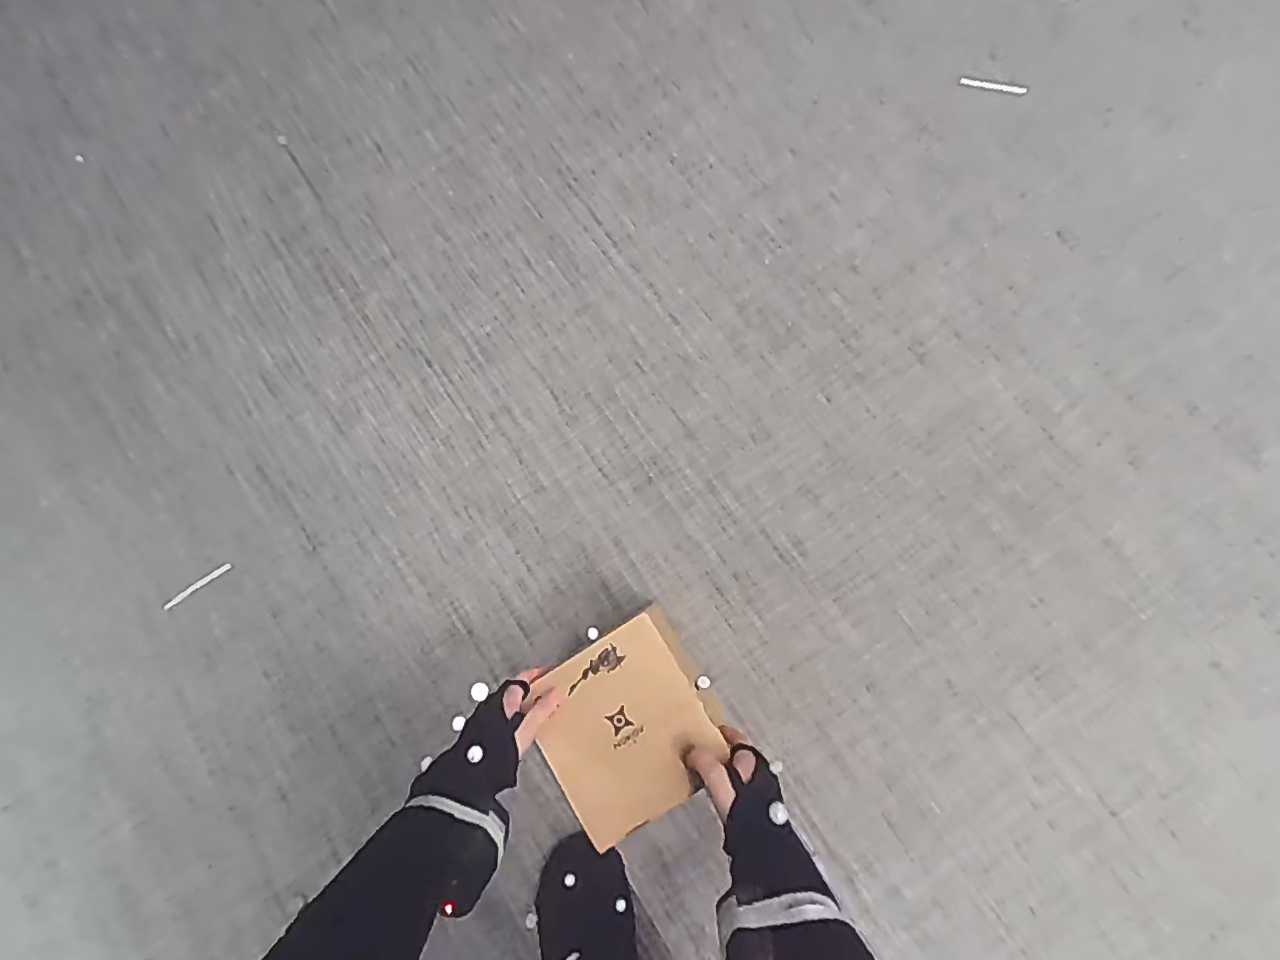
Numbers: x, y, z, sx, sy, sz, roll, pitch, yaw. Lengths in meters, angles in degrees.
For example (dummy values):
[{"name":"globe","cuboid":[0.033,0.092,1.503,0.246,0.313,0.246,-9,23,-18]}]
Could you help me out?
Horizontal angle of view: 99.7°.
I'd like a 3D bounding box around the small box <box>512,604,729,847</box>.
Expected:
[{"name":"small box","cuboid":[-0.014,0.262,0.626,0.168,0.176,0.179,-32,80,0]}]
